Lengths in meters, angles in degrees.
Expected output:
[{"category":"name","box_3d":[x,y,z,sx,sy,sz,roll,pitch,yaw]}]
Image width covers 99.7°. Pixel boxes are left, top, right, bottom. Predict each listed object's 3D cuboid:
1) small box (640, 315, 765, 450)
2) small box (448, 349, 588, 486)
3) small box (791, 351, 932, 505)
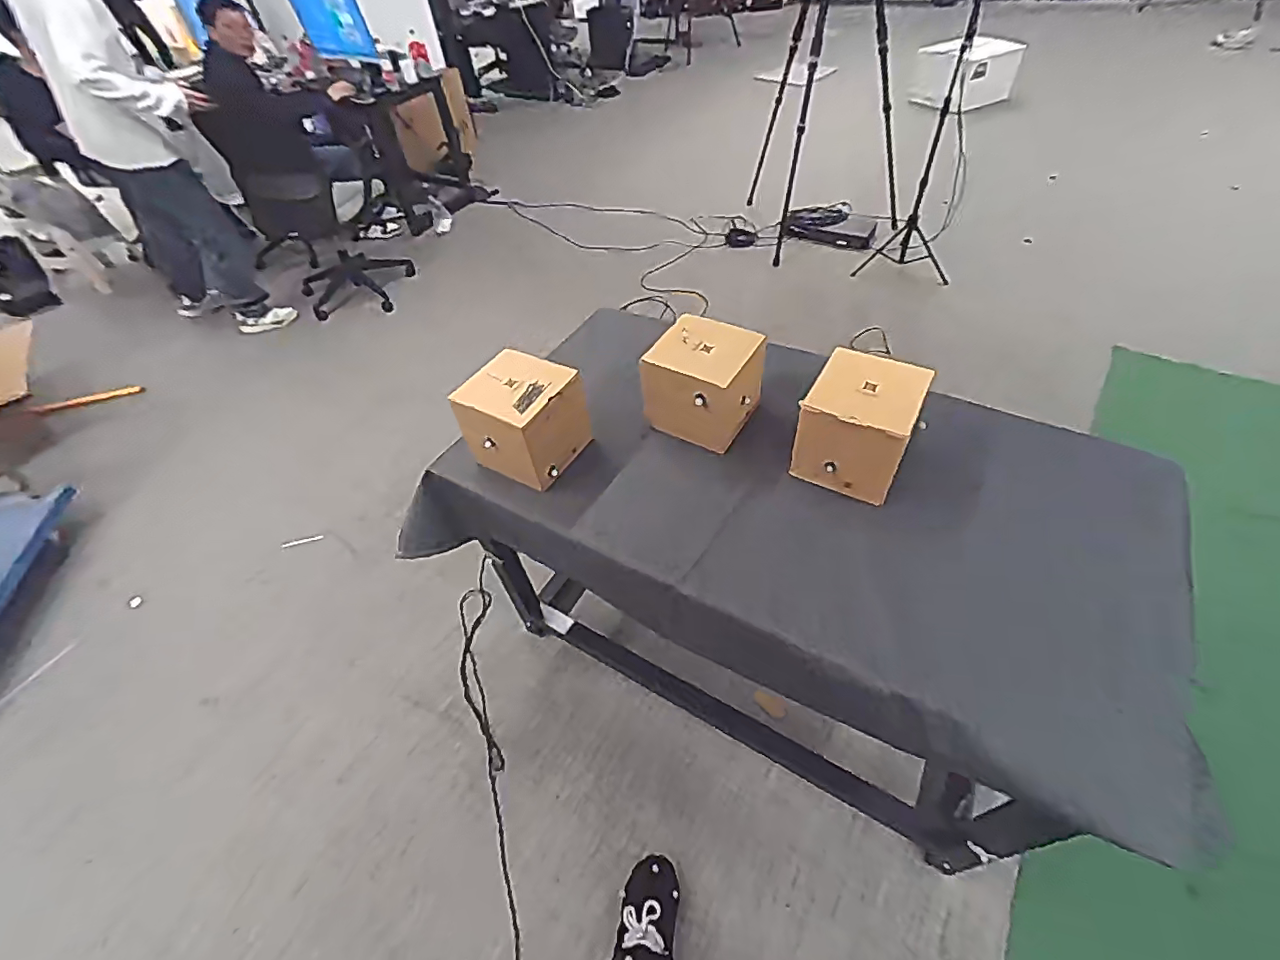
[{"category":"small box","box_3d":[0.121,-0.182,1.039,0.179,0.176,0.168,24,56,24]},{"category":"small box","box_3d":[-0.216,-0.112,1.012,0.179,0.176,0.168,22,54,23]},{"category":"small box","box_3d":[0.376,-0.090,0.938,0.168,0.176,0.179,22,56,23]}]
